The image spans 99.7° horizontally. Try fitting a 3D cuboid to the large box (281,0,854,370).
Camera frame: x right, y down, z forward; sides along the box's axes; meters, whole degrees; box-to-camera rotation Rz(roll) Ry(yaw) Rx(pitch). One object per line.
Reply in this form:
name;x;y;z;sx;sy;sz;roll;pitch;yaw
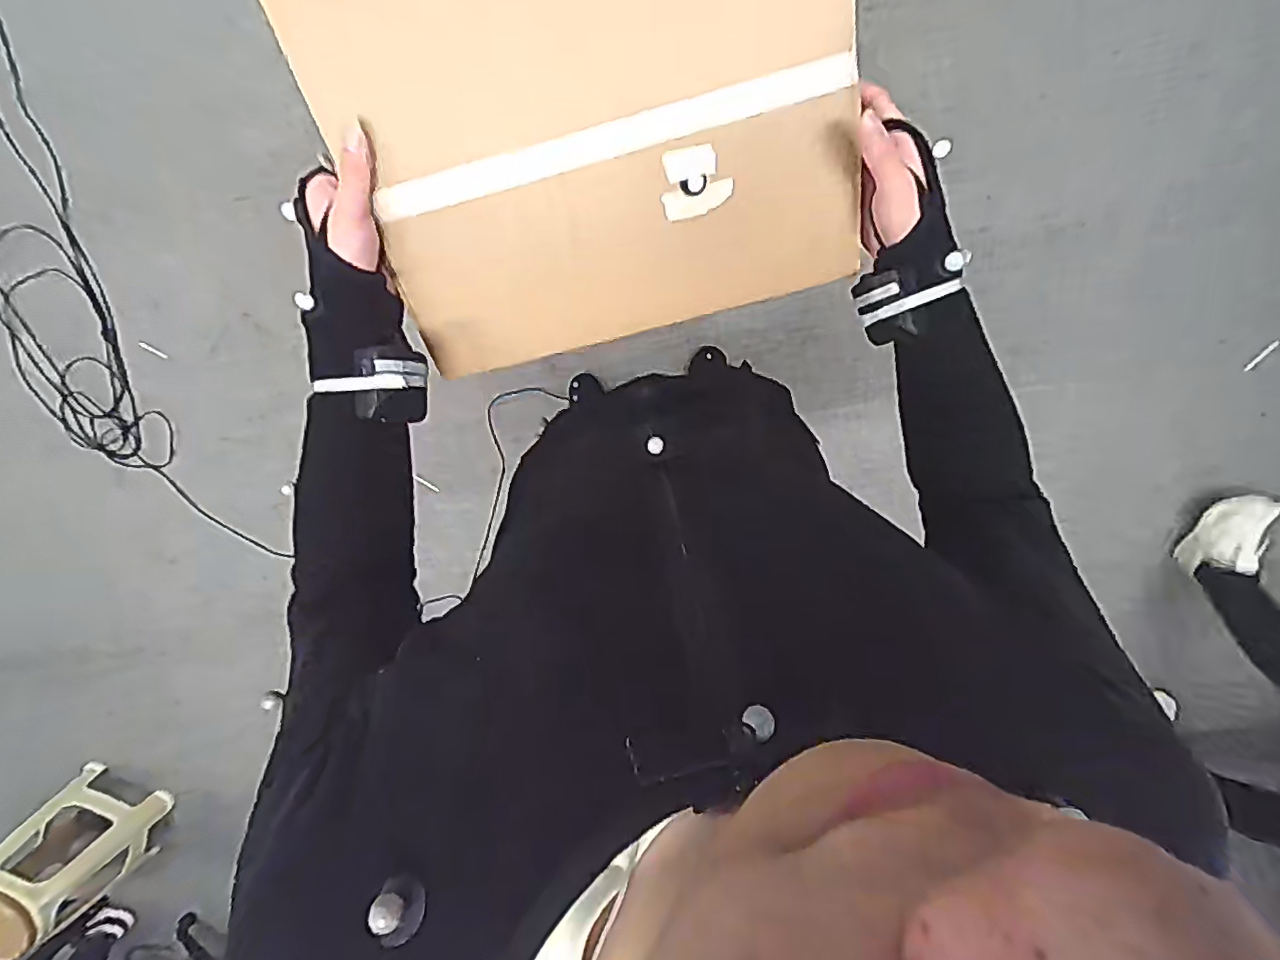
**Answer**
large box;-0.042;-0.355;0.564;0.408;0.320;0.320;-14;122;4
